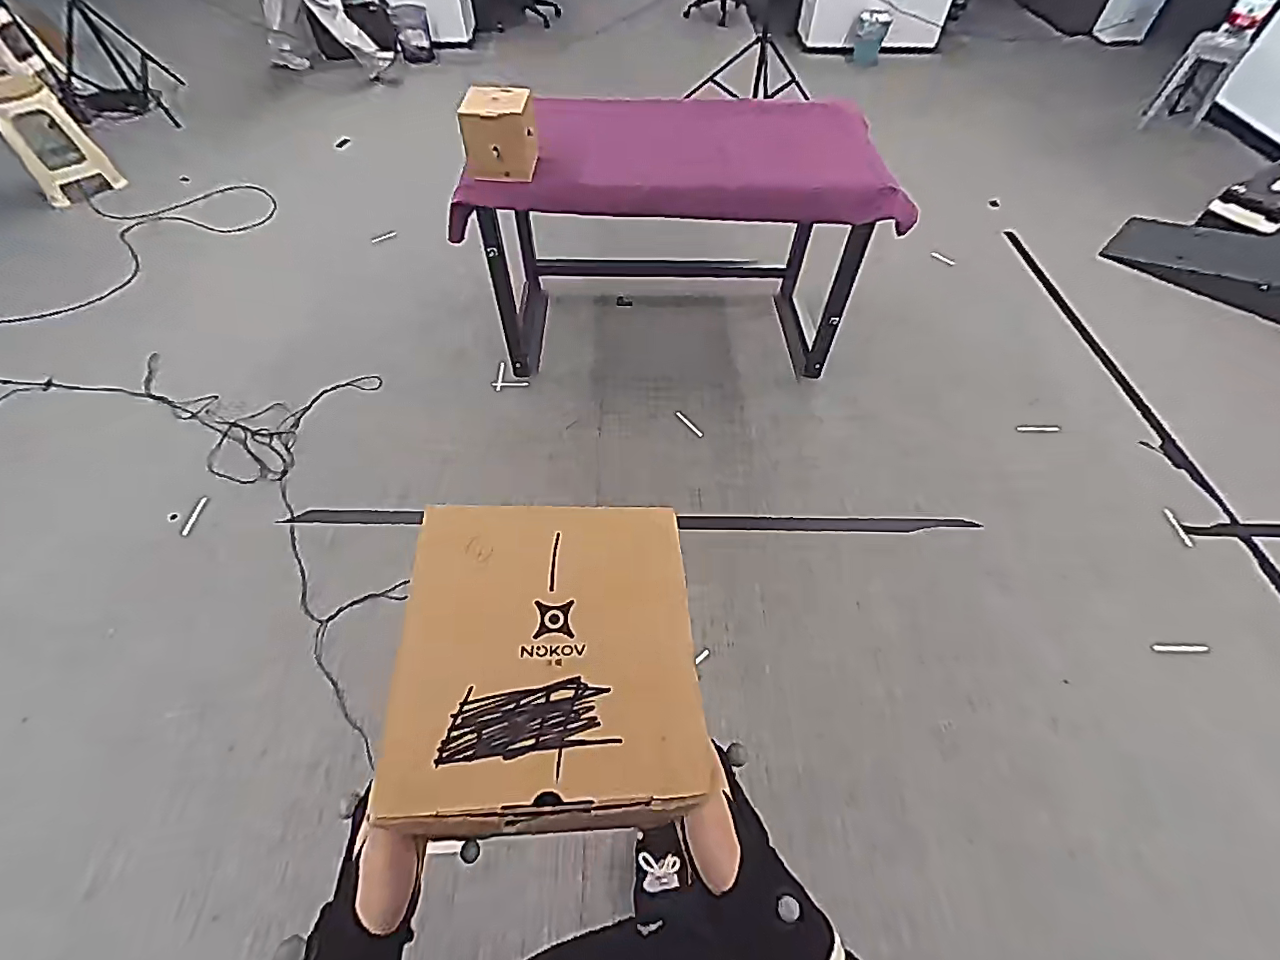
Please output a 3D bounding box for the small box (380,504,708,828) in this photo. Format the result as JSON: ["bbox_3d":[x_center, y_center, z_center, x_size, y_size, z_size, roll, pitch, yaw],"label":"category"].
[{"bbox_3d":[-0.058,0.135,0.378,0.168,0.176,0.179,2,53,-8],"label":"small box"}]

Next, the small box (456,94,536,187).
[{"bbox_3d":[-0.385,-0.928,1.482,0.168,0.176,0.179,2,54,0],"label":"small box"}]
